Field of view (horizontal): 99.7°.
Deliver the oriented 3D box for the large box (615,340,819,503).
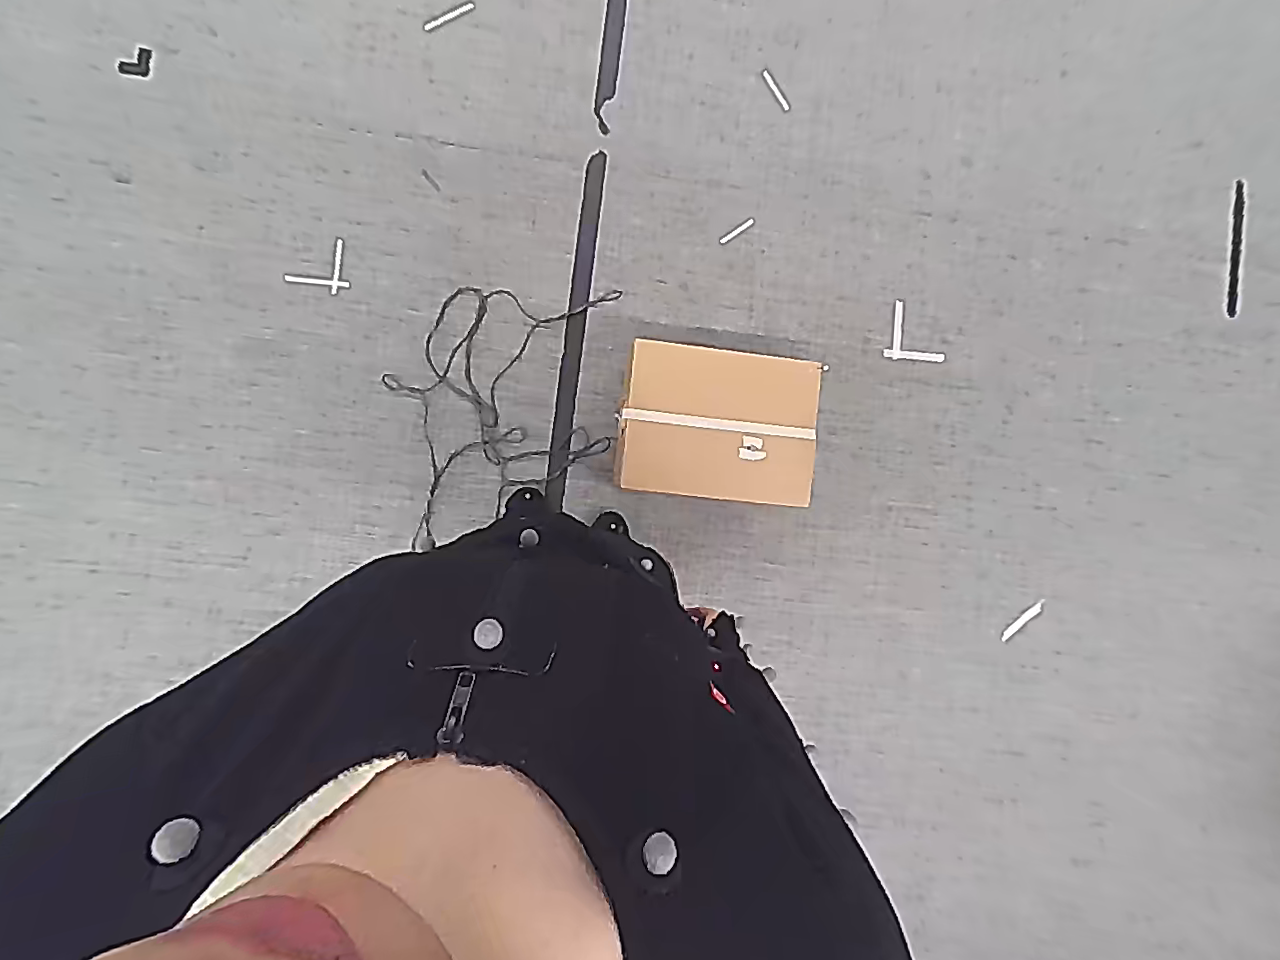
[{"bbox_3d":[0.156,-0.117,1.276,0.408,0.320,0.320,6,89,-6],"label":"large box"}]
